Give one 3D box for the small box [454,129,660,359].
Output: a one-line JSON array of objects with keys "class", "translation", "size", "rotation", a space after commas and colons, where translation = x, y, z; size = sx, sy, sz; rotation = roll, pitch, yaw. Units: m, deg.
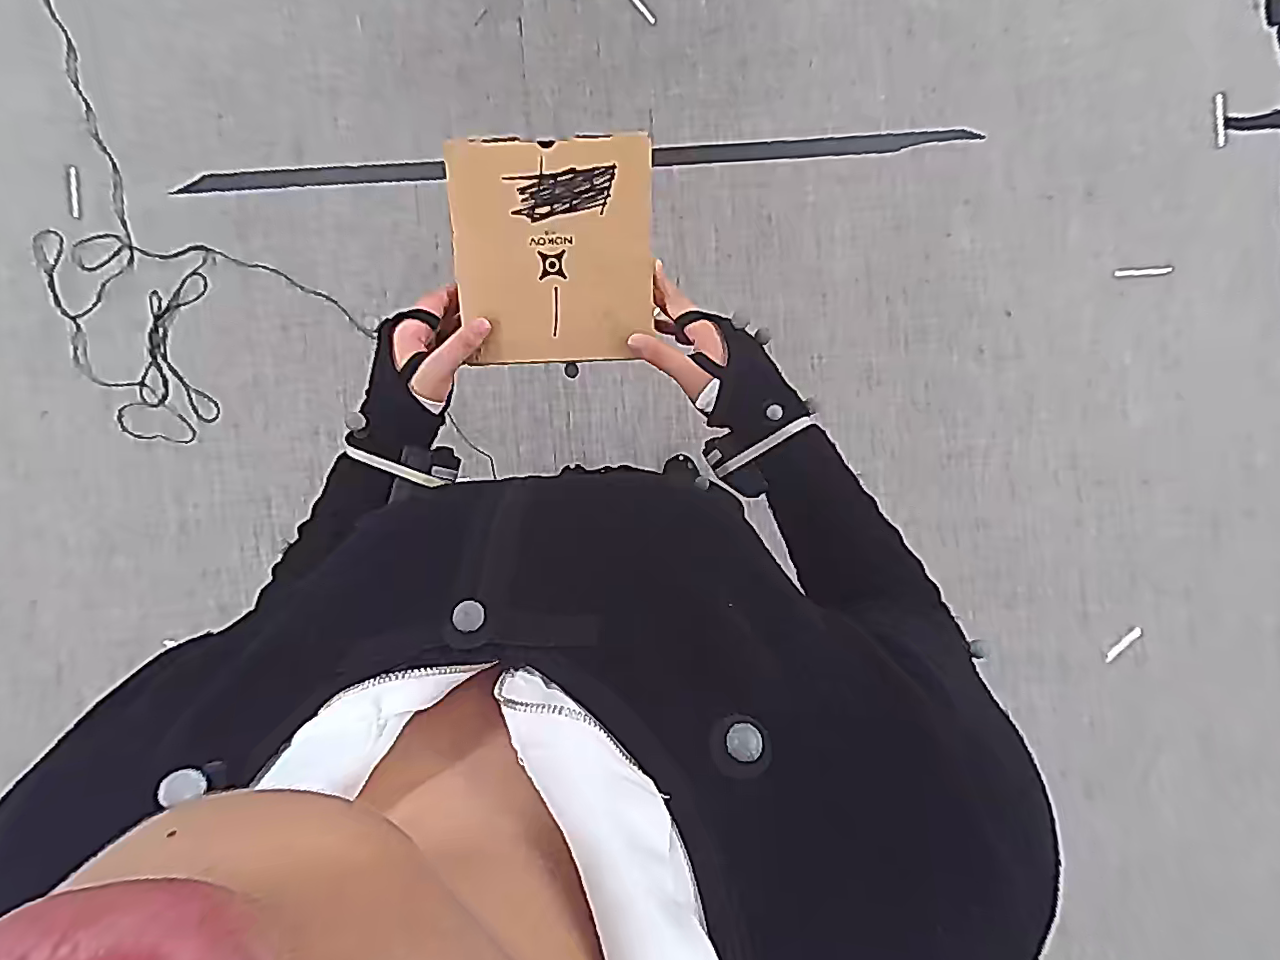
[{"class": "small box", "translation": [-0.066, -0.210, 0.527], "size": [0.168, 0.176, 0.179], "rotation": [-2, 103, 1]}]
